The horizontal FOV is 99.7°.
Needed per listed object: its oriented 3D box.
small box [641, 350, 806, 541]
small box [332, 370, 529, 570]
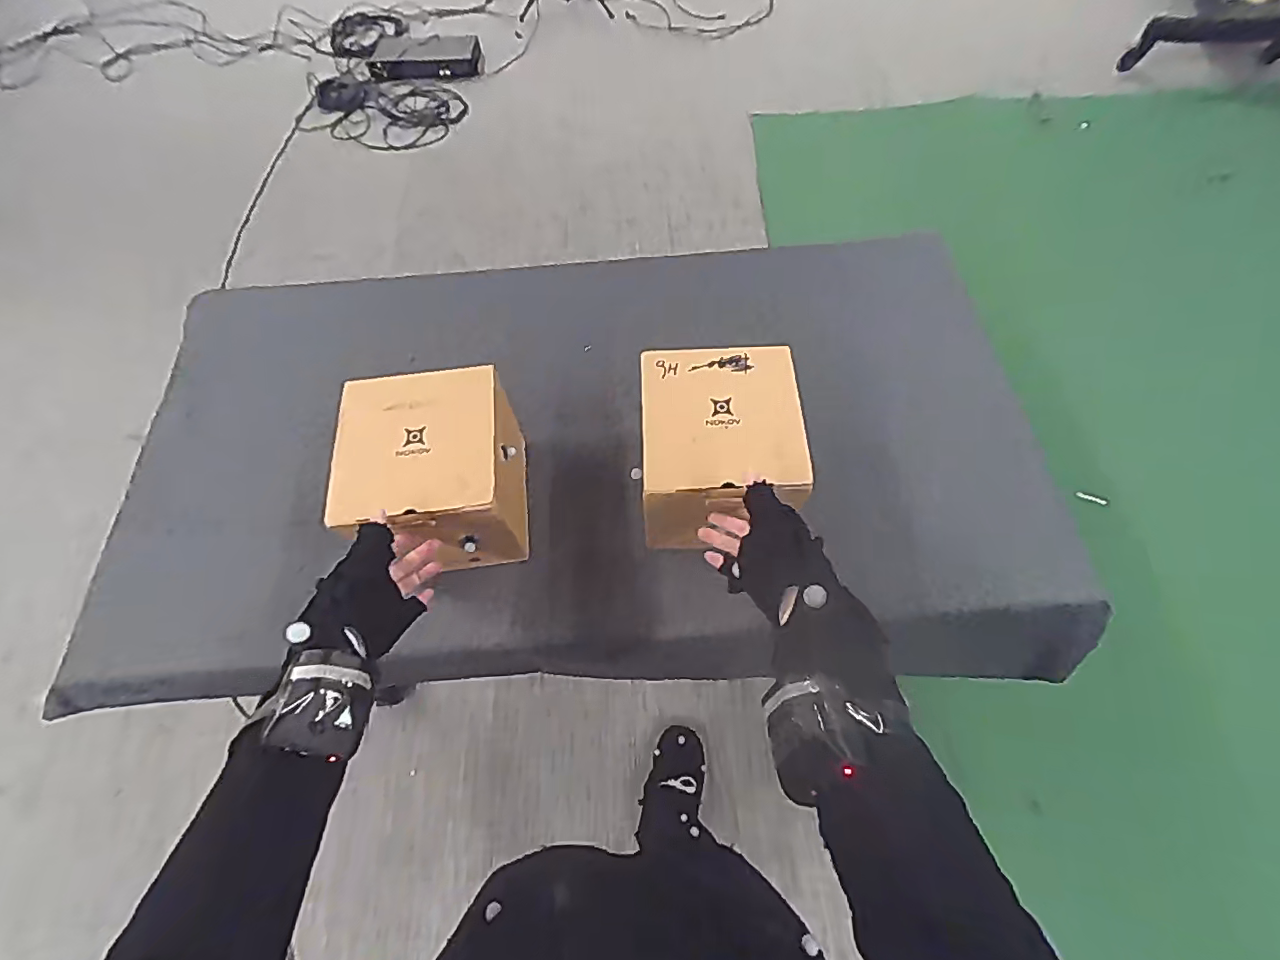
[{"bbox_3d":[0.086,-0.031,0.639,0.168,0.176,0.179,-1,64,1],"label":"small box"},{"bbox_3d":[-0.230,-0.002,0.638,0.168,0.176,0.179,-7,62,-3],"label":"small box"}]
